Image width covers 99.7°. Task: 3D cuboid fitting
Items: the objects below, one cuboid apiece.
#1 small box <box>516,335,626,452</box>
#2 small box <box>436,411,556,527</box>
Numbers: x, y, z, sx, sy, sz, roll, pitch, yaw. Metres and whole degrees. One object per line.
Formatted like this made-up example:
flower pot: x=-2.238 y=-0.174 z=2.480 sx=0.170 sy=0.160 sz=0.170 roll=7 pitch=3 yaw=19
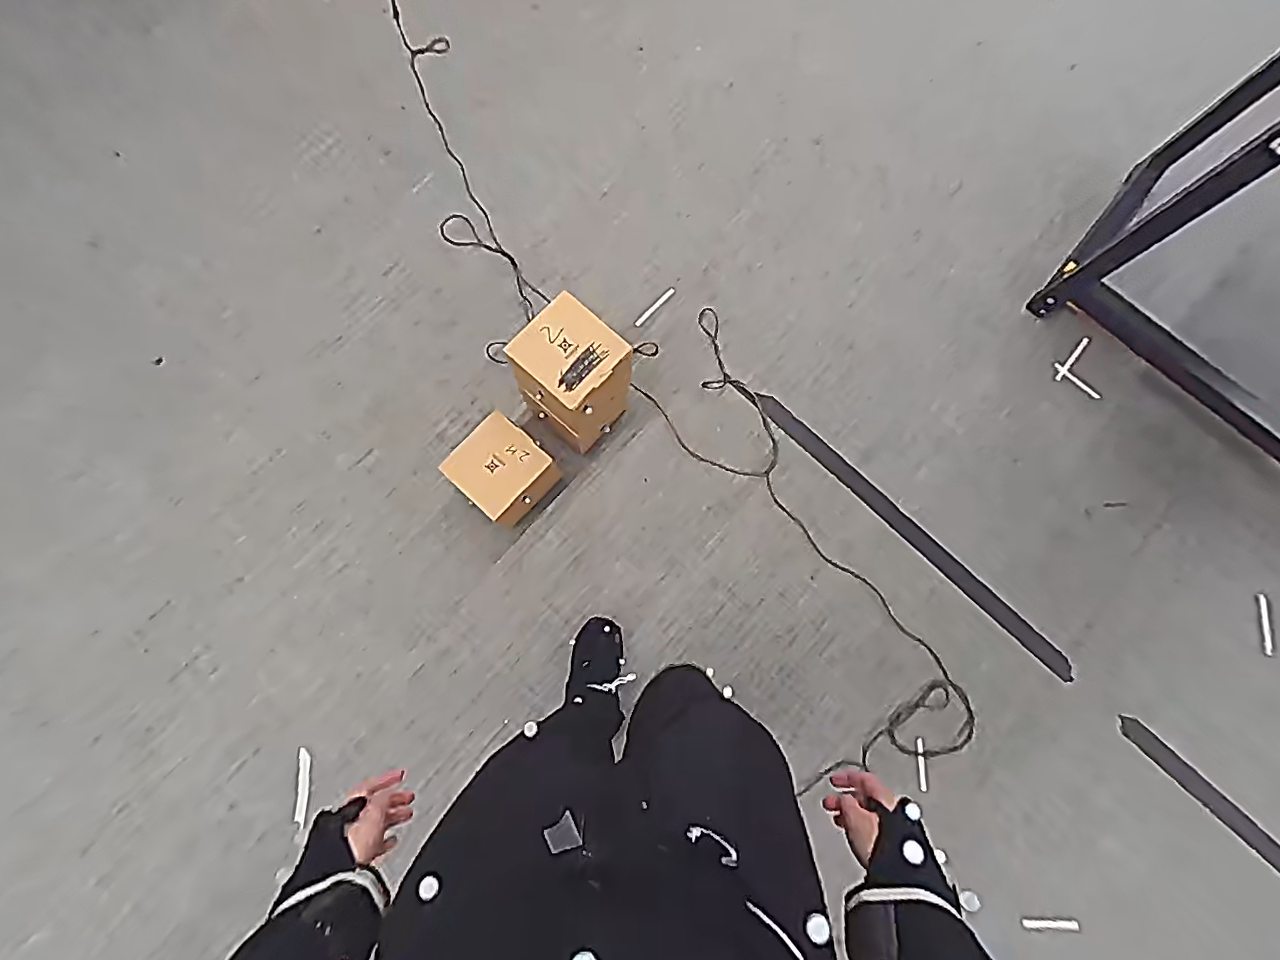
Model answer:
small box: x=-0.150 y=-0.186 z=1.221 sx=0.179 sy=0.176 sz=0.168 roll=41 pitch=80 yaw=4
small box: x=-0.302 y=-0.015 z=1.181 sx=0.168 sy=0.176 sz=0.179 roll=43 pitch=81 yaw=5
